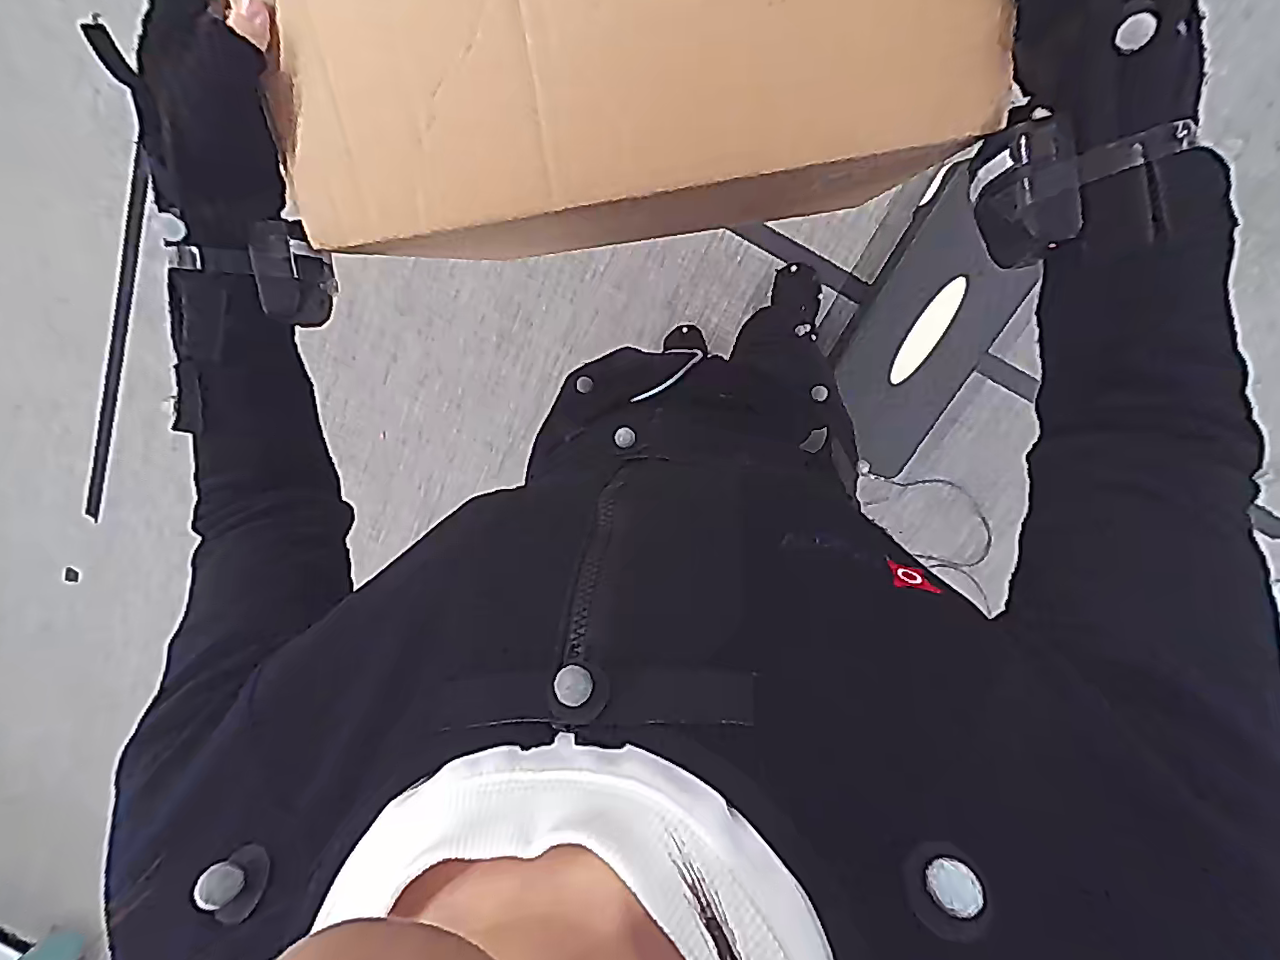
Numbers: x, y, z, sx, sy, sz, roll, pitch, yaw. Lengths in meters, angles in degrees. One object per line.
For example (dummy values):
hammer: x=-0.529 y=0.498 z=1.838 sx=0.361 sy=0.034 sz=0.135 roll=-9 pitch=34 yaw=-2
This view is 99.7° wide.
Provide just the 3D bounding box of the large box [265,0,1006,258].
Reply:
large box: x=-0.008 y=-0.370 z=0.410 sx=0.408 sy=0.320 sz=0.320 roll=-5 pitch=110 yaw=10
